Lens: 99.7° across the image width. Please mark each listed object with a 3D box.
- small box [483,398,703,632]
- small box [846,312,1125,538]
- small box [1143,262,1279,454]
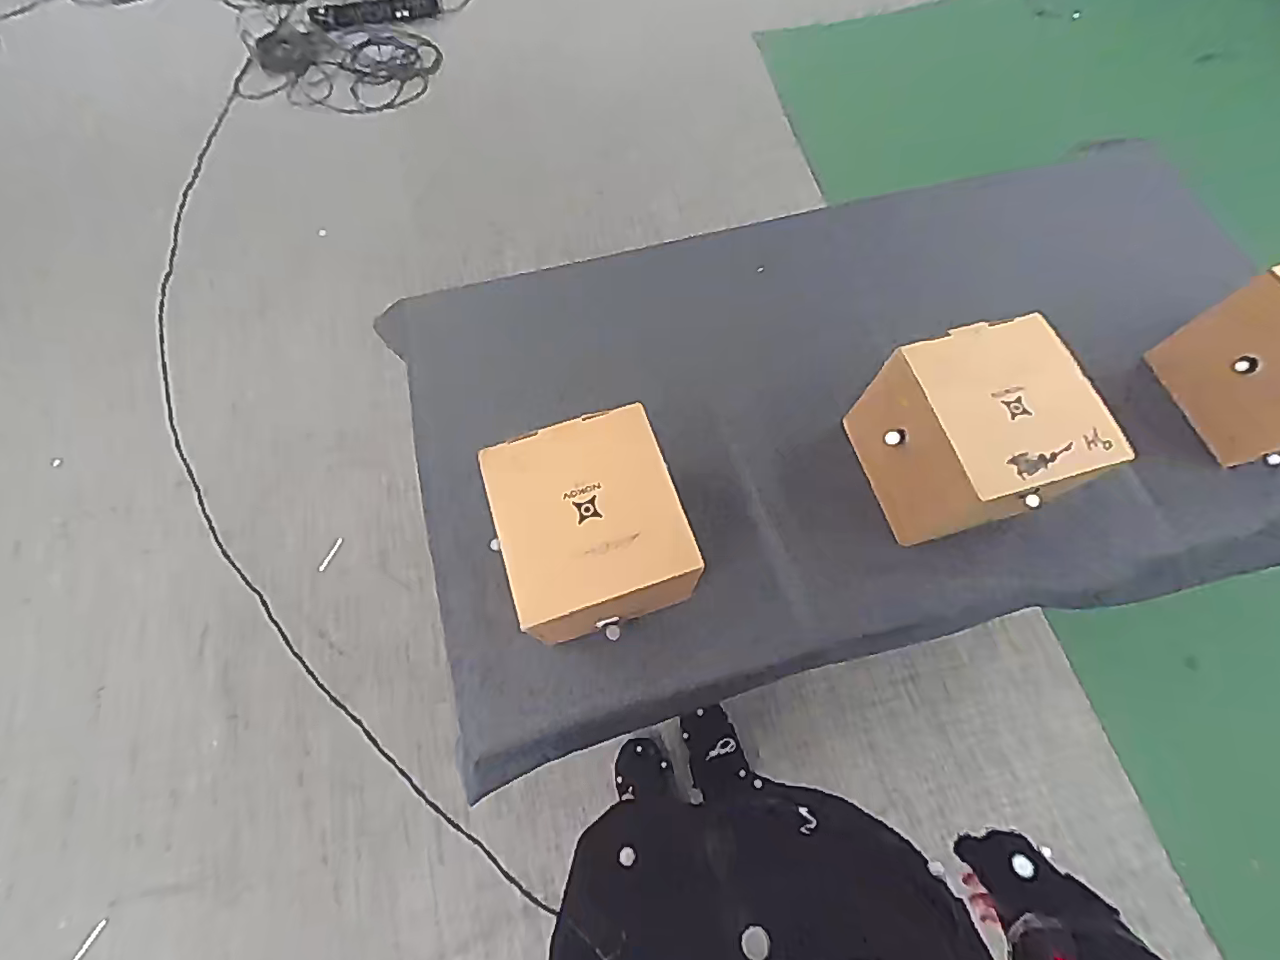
[{"bbox_3d":[-0.047,0.046,0.569,0.168,0.176,0.179,-18,70,-6],"label":"small box"},{"bbox_3d":[0.361,-0.053,0.609,0.168,0.176,0.179,-15,69,-5],"label":"small box"},{"bbox_3d":[0.777,-0.144,0.640,0.168,0.176,0.179,-14,69,-4],"label":"small box"}]
